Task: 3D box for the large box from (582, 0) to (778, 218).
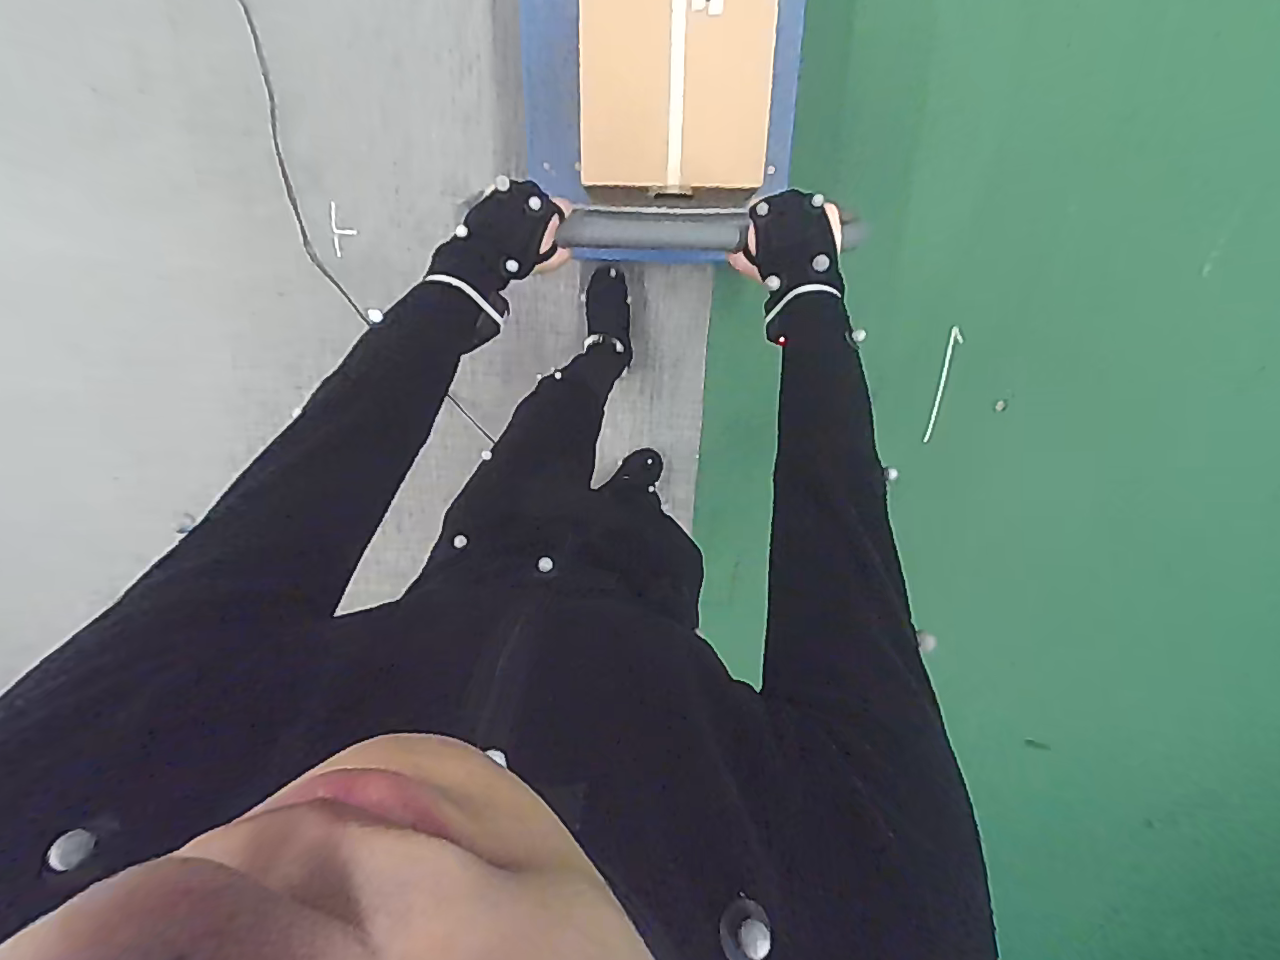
[{"bbox_3d":[0.067,-0.732,1.011,0.320,0.320,0.408,1,107,0],"label":"large box"}]
